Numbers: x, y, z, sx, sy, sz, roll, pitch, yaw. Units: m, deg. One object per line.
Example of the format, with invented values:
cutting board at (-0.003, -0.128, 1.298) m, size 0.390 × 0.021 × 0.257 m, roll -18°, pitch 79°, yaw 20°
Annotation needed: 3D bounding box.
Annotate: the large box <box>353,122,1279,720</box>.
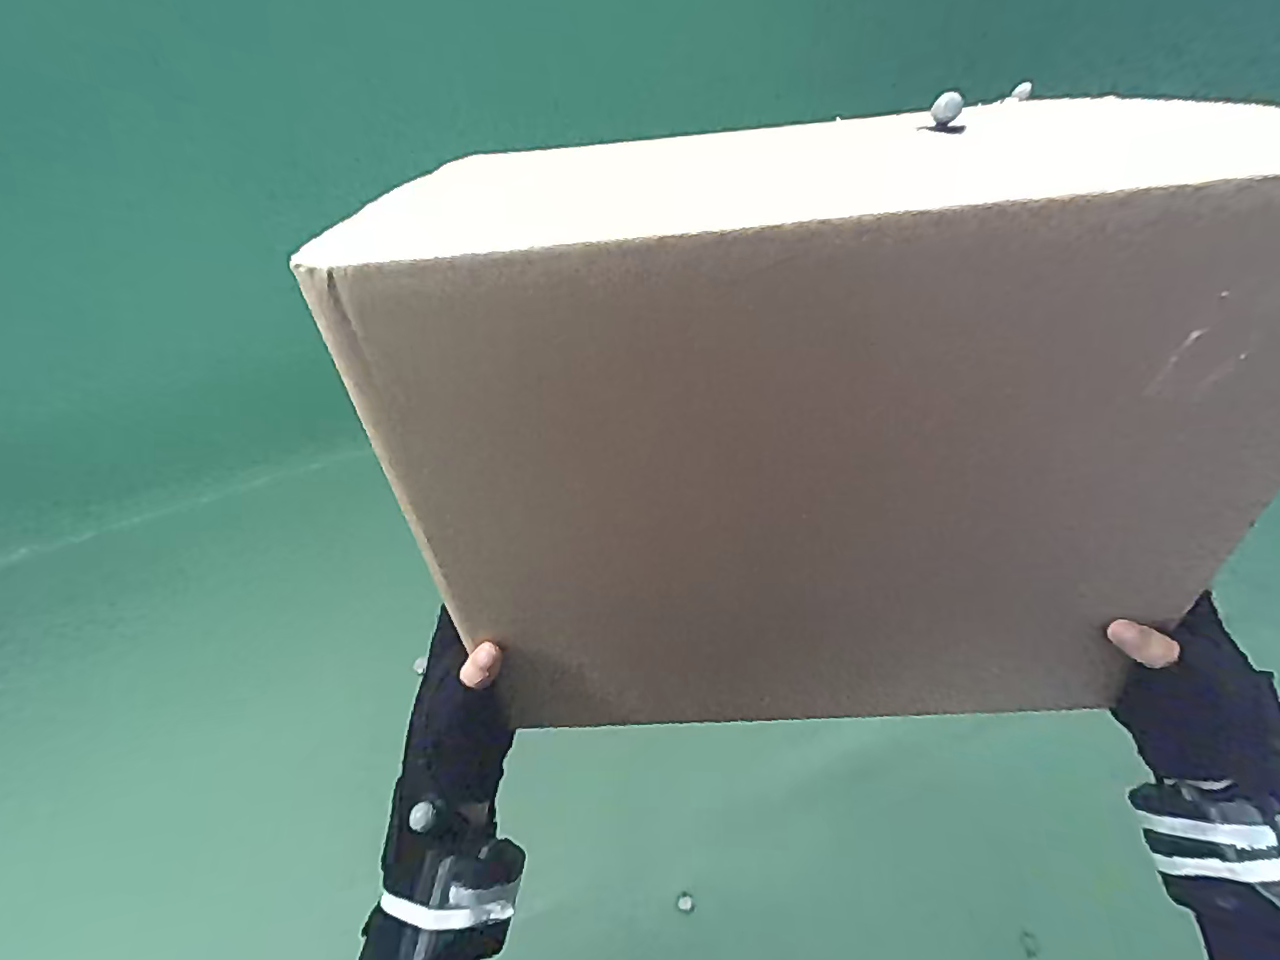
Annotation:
large box at (0.100, -0.054, 0.393) m, size 0.408 × 0.320 × 0.320 m, roll -3°, pitch 37°, yaw 3°
